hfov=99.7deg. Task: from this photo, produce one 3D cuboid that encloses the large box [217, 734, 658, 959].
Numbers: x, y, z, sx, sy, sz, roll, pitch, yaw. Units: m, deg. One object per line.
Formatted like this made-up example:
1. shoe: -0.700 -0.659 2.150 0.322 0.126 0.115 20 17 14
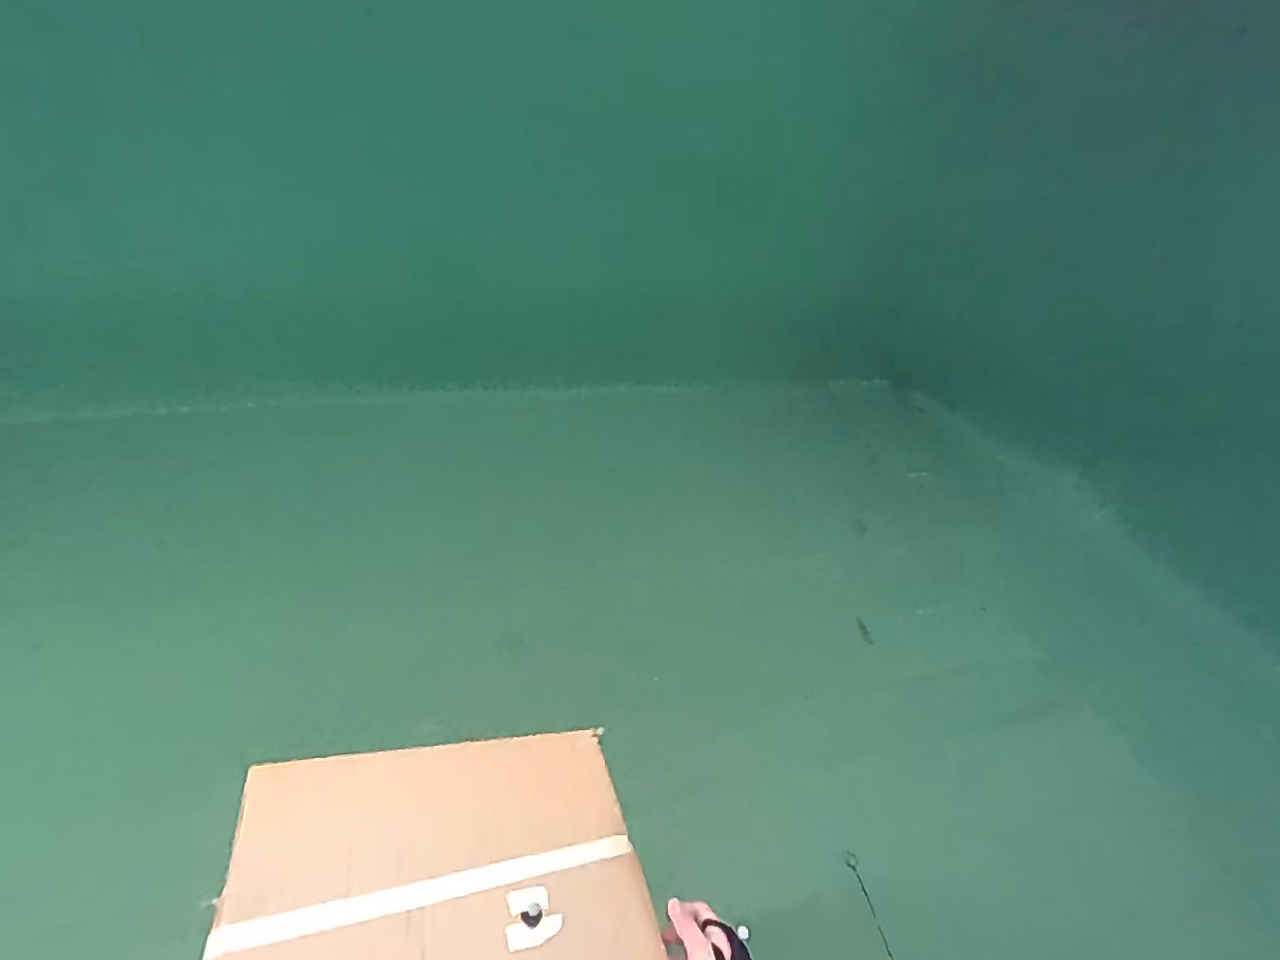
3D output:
1. large box: -0.251 0.547 0.631 0.408 0.320 0.320 10 30 -32
